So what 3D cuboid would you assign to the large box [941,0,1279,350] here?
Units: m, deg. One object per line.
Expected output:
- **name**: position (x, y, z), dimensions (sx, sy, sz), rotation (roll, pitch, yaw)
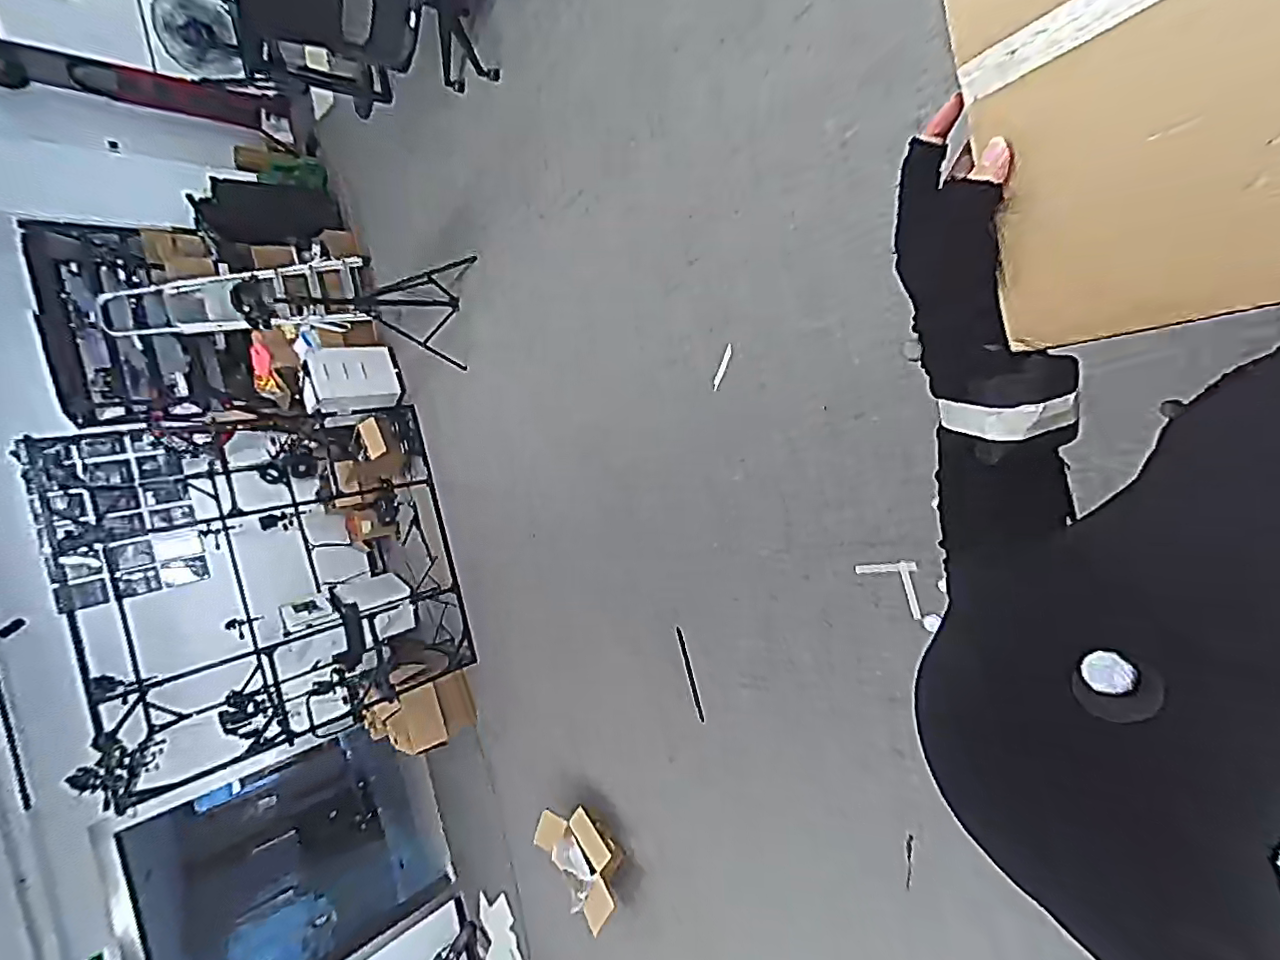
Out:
- **large box**: position (0.420, -0.287, 0.246), dimensions (0.408, 0.320, 0.320), rotation (-4, 105, 54)
